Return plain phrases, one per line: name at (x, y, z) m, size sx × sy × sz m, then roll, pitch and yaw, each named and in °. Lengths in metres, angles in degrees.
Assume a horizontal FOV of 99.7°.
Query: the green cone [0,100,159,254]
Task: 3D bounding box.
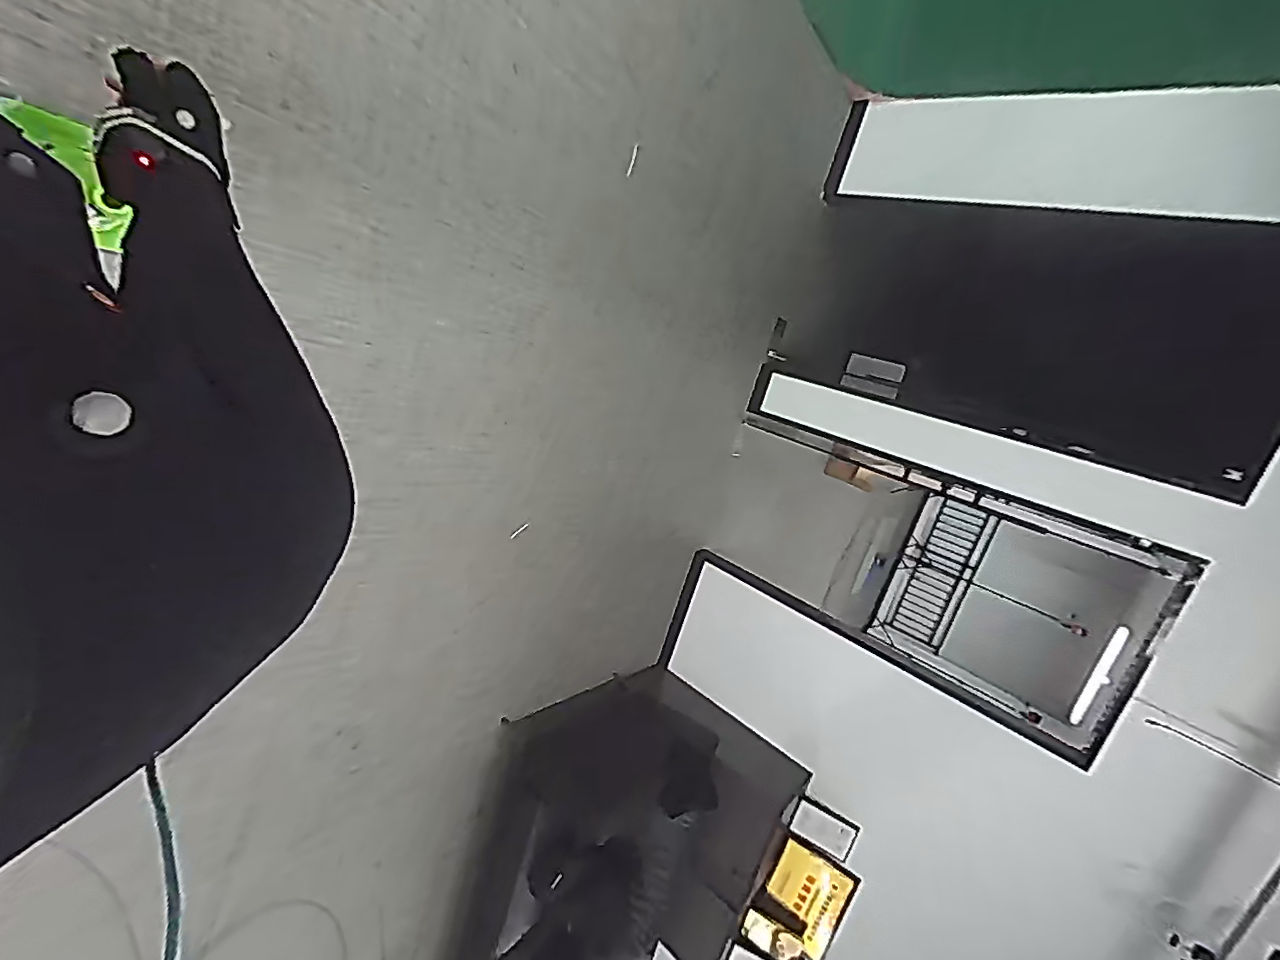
green cone at (-0.877, -0.471, 0.870) m, size 0.202 × 0.368 × 0.200 m, roll -1°, pitch 112°, yaw -51°
